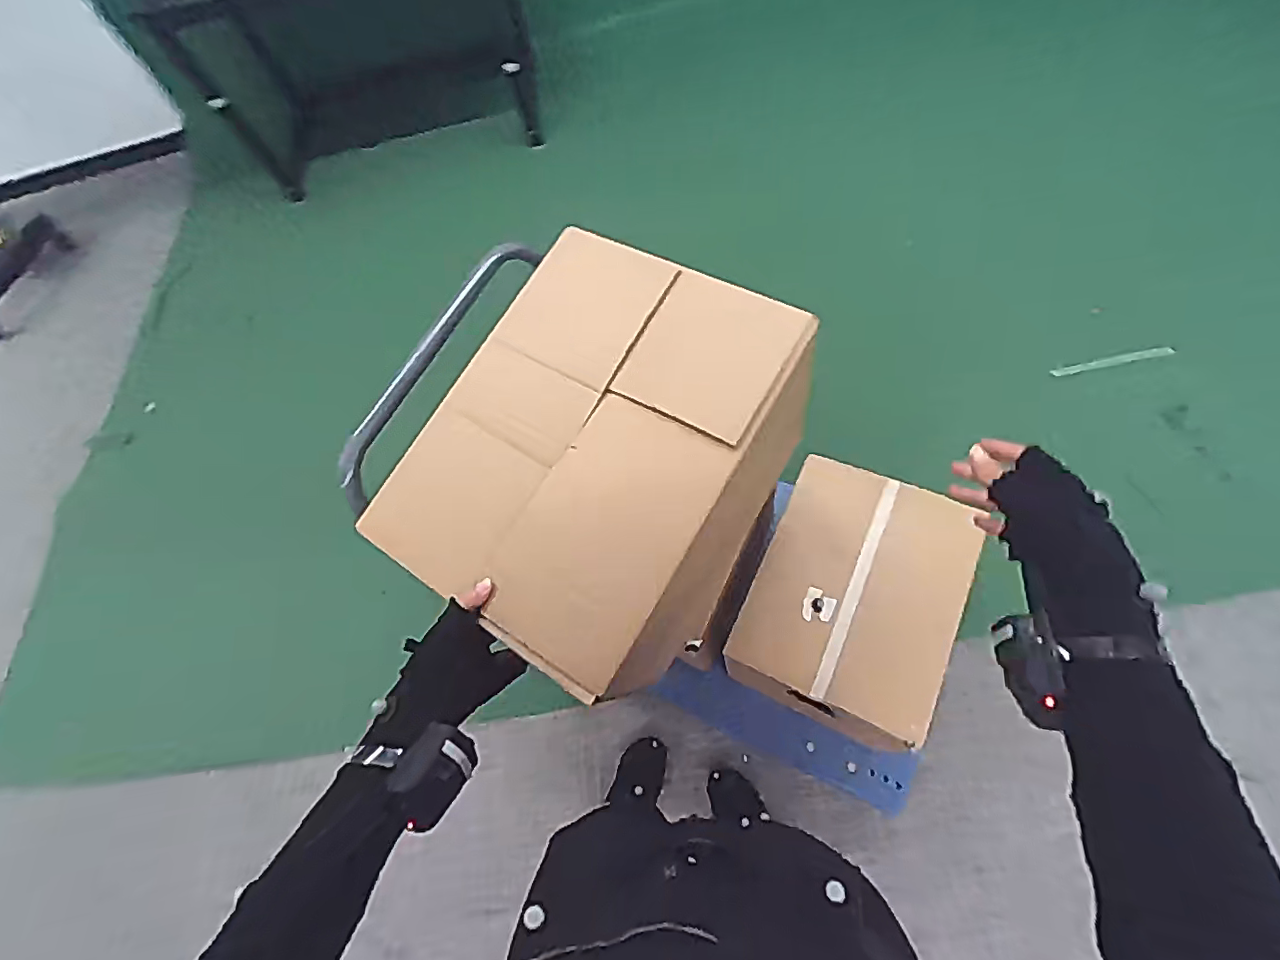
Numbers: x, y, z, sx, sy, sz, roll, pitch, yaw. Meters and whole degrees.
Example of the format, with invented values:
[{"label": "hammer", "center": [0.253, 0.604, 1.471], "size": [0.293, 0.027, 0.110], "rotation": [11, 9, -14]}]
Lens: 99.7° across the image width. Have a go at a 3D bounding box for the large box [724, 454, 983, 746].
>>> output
[{"label": "large box", "center": [0.380, 0.227, 1.023], "size": [0.320, 0.320, 0.408], "rotation": [22, 71, 20]}]
